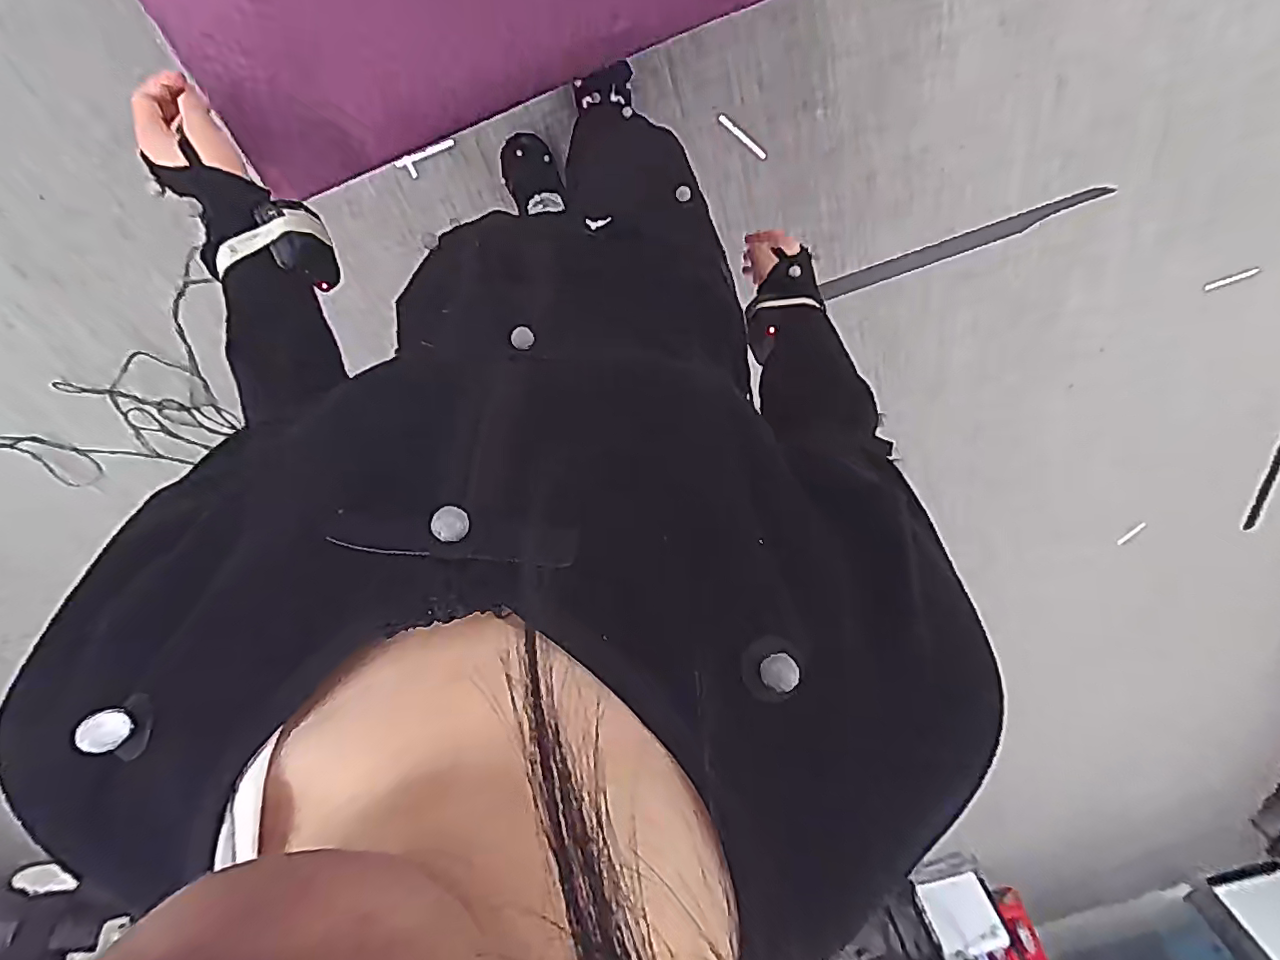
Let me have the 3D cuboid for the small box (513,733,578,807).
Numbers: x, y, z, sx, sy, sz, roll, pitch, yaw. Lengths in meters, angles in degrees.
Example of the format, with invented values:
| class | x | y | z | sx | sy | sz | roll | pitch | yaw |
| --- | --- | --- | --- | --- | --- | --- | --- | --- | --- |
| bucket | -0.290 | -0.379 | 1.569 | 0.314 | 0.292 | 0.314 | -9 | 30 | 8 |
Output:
| class | x | y | z | sx | sy | sz | roll | pitch | yaw |
| --- | --- | --- | --- | --- | --- | --- | --- | --- | --- |
| small box | -0.323 | 1.010 | 1.863 | 0.168 | 0.176 | 0.179 | 22 | 117 | -22 |

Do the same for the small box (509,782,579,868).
| class | x | y | z | sx | sy | sz | roll | pitch | yaw |
| --- | --- | --- | --- | --- | --- | --- | --- | --- | --- |
| small box | -0.304 | 1.103 | 1.729 | 0.168 | 0.176 | 0.179 | 22 | 118 | -22 |
